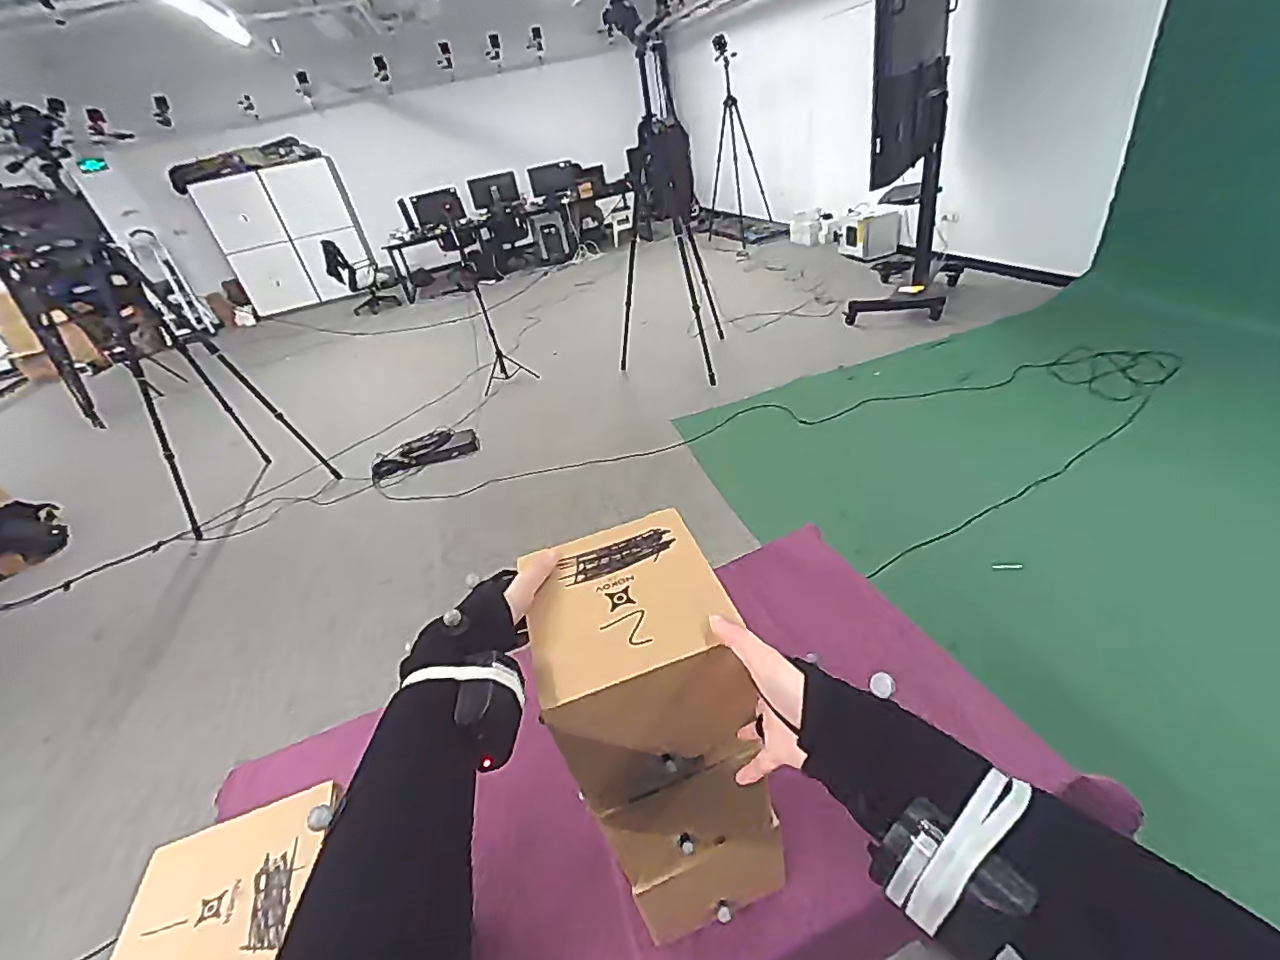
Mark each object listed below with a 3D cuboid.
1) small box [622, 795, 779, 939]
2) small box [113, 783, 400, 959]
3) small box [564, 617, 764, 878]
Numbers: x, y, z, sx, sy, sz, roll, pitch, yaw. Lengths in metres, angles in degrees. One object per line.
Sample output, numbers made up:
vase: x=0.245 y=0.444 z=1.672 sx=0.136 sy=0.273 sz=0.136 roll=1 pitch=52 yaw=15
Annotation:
small box: x=0.060 y=0.432 z=0.691 sx=0.179 sy=0.176 sz=0.168 roll=-19 pitch=34 yaw=-10
small box: x=-0.352 y=0.440 z=0.520 sx=0.179 sy=0.176 sz=0.168 roll=-19 pitch=35 yaw=-9
small box: x=0.026 y=0.295 z=0.609 sx=0.168 sy=0.176 sz=0.179 roll=-19 pitch=36 yaw=-9
